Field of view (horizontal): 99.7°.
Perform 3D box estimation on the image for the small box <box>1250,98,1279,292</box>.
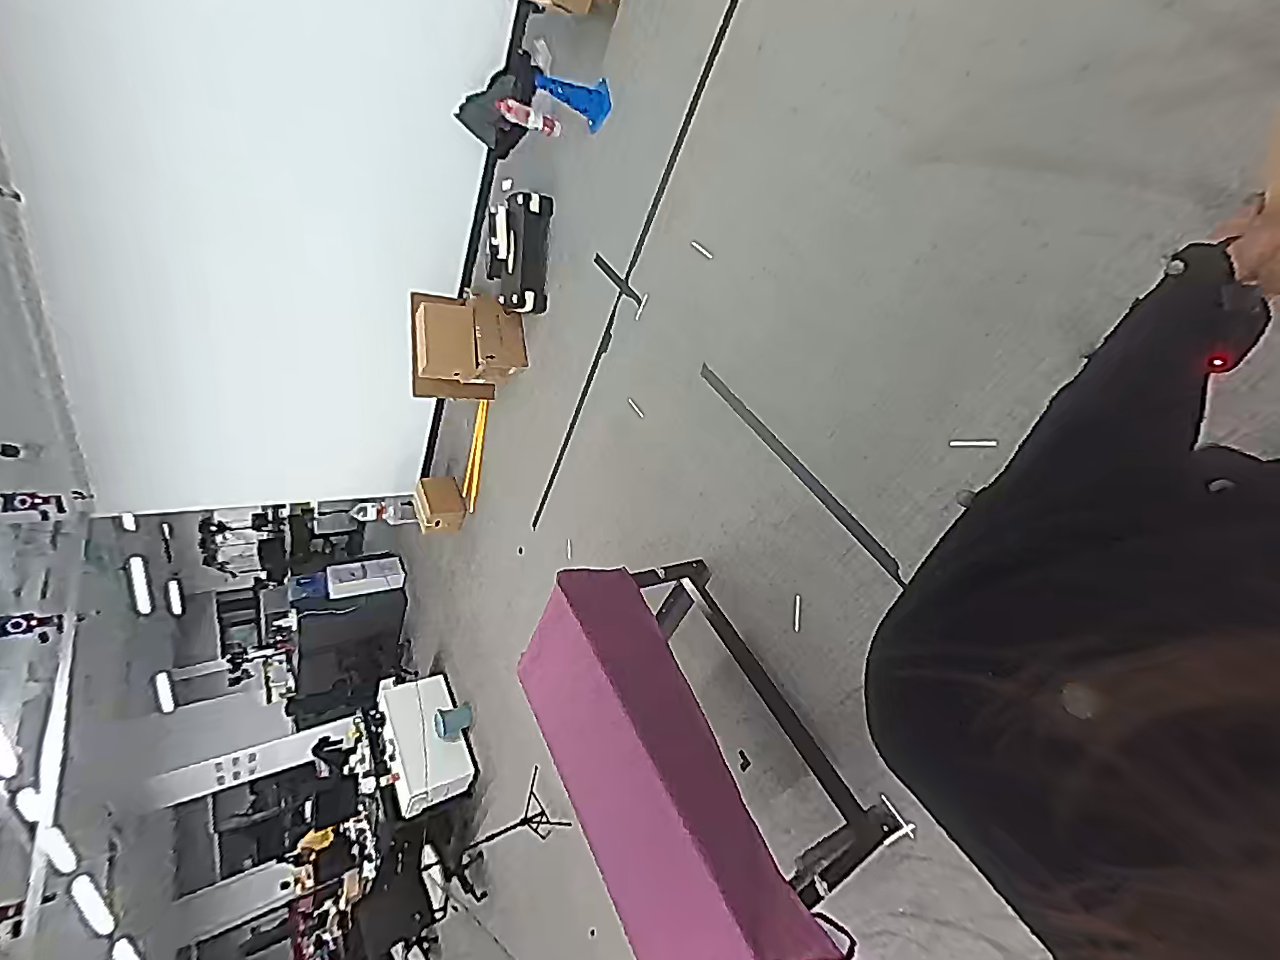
[{"bbox_3d":[0.722,-0.287,0.521,0.168,0.176,0.179,6,106,50],"label":"small box"}]
